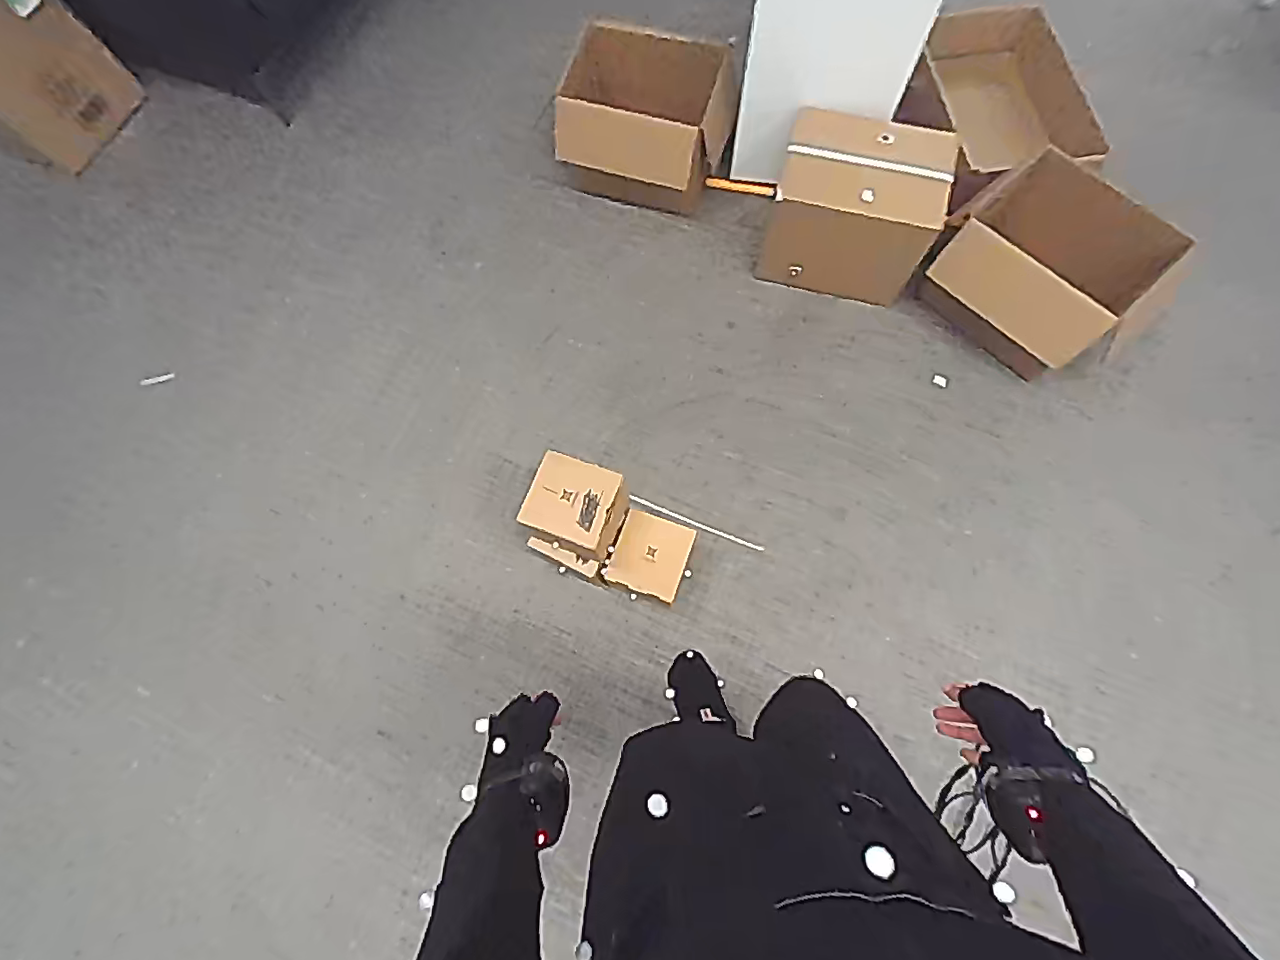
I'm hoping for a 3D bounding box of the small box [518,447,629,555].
[{"bbox_3d":[-0.133,0.054,1.168,0.179,0.176,0.168,20,74,9],"label":"small box"}]
